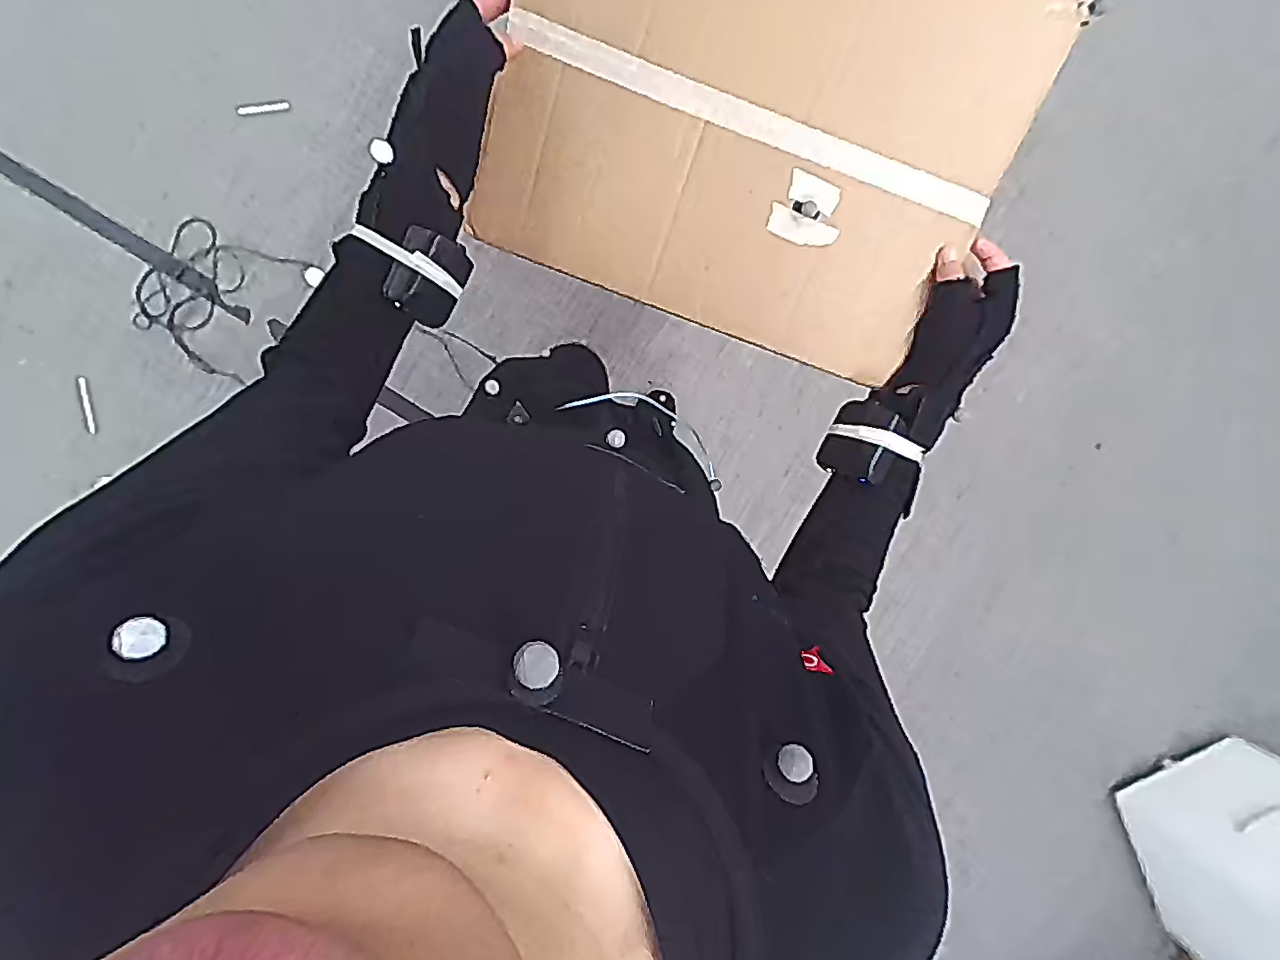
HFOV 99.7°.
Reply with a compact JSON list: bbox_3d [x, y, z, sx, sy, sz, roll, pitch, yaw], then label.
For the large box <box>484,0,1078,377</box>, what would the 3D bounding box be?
[{"bbox_3d":[0.099,-0.340,0.578,0.408,0.320,0.320,19,110,-5],"label":"large box"}]
